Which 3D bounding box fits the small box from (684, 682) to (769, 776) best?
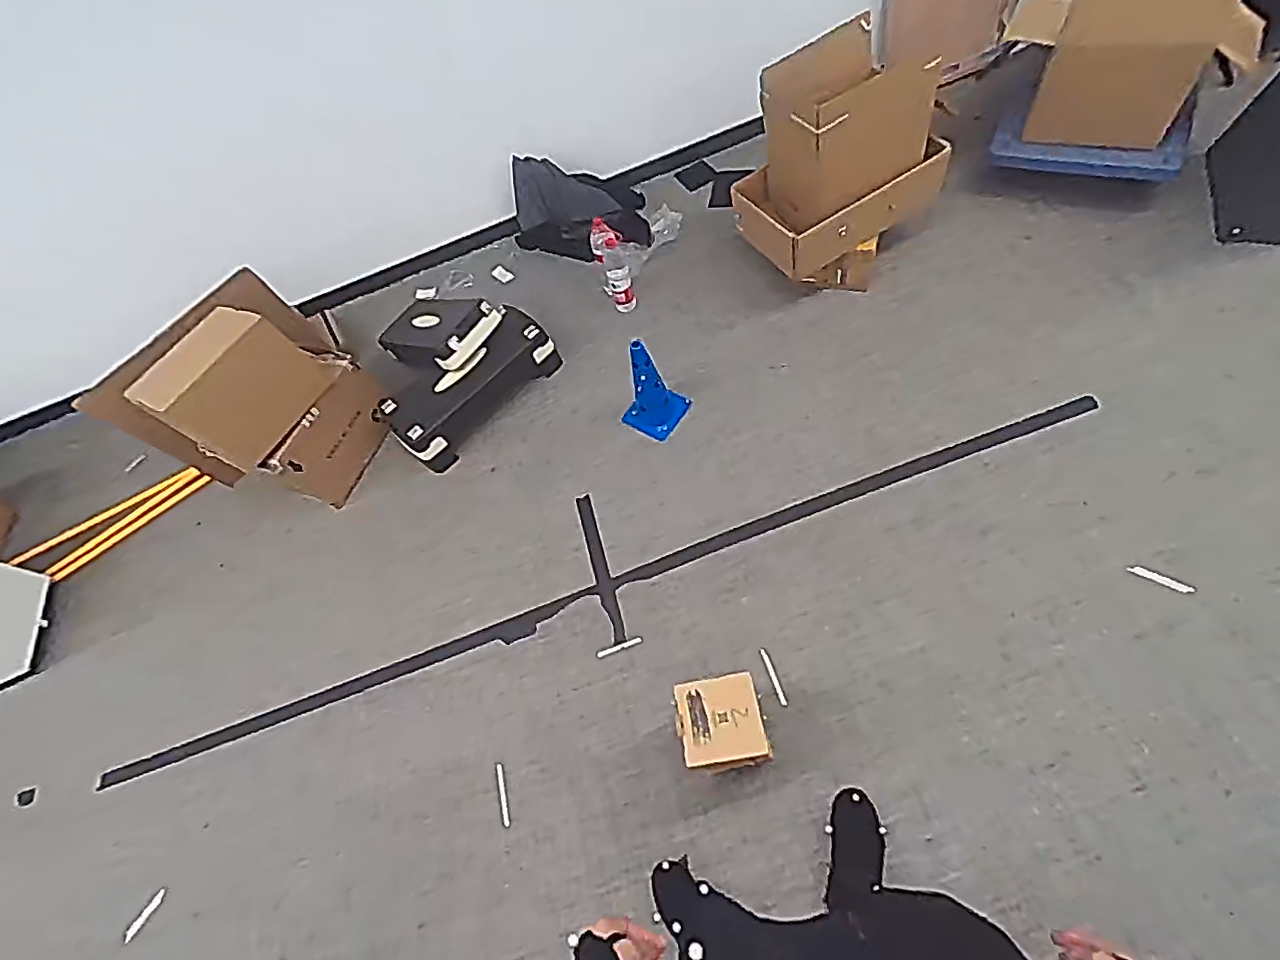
[{"bbox_3d":[0.221,0.626,1.356,0.168,0.176,0.179,-17,59,4],"label":"small box"}]
